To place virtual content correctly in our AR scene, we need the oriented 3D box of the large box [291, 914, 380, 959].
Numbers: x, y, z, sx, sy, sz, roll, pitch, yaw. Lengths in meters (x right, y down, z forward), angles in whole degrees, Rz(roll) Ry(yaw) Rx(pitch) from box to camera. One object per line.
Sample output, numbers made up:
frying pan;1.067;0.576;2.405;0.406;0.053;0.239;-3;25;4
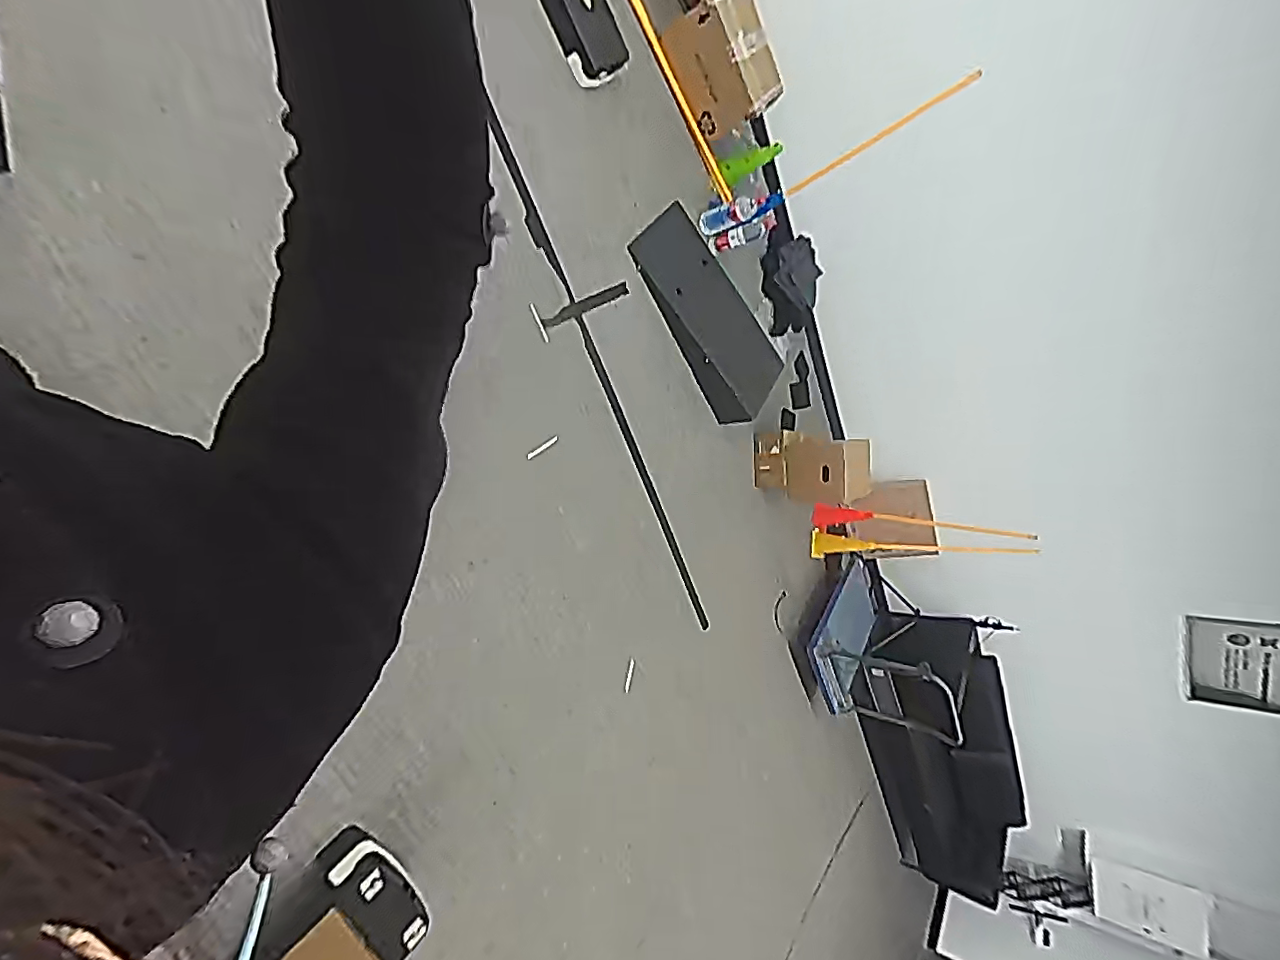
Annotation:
large box;-0.625;1.174;1.014;0.408;0.320;0.320;-37;115;-44
